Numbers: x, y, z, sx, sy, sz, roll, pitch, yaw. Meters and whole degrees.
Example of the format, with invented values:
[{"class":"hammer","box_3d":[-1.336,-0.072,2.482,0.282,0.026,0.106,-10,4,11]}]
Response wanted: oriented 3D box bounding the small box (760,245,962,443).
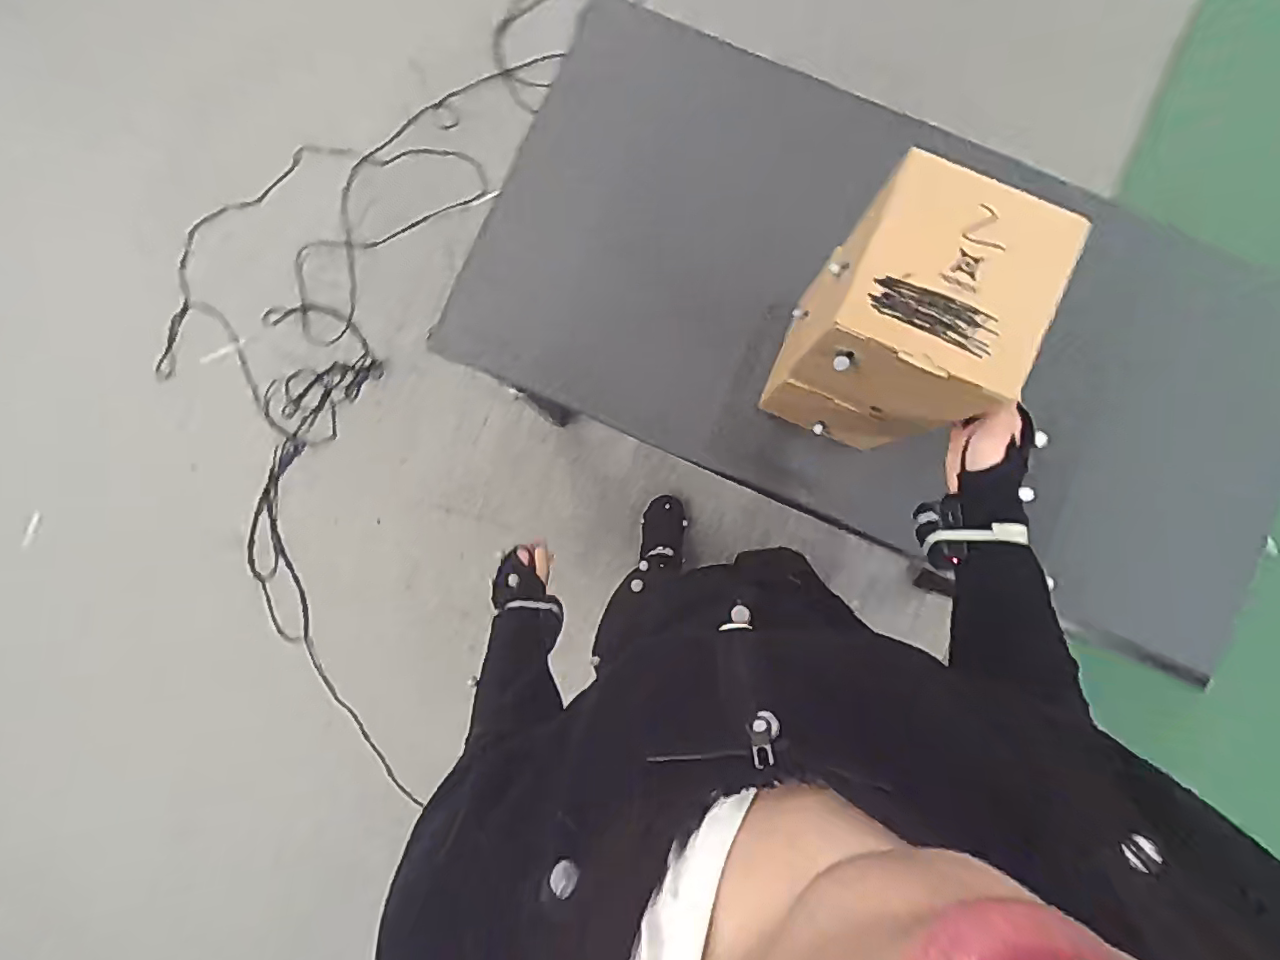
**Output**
[{"class":"small box","box_3d":[0.272,-0.164,0.709,0.168,0.176,0.179,21,87,3]}]
